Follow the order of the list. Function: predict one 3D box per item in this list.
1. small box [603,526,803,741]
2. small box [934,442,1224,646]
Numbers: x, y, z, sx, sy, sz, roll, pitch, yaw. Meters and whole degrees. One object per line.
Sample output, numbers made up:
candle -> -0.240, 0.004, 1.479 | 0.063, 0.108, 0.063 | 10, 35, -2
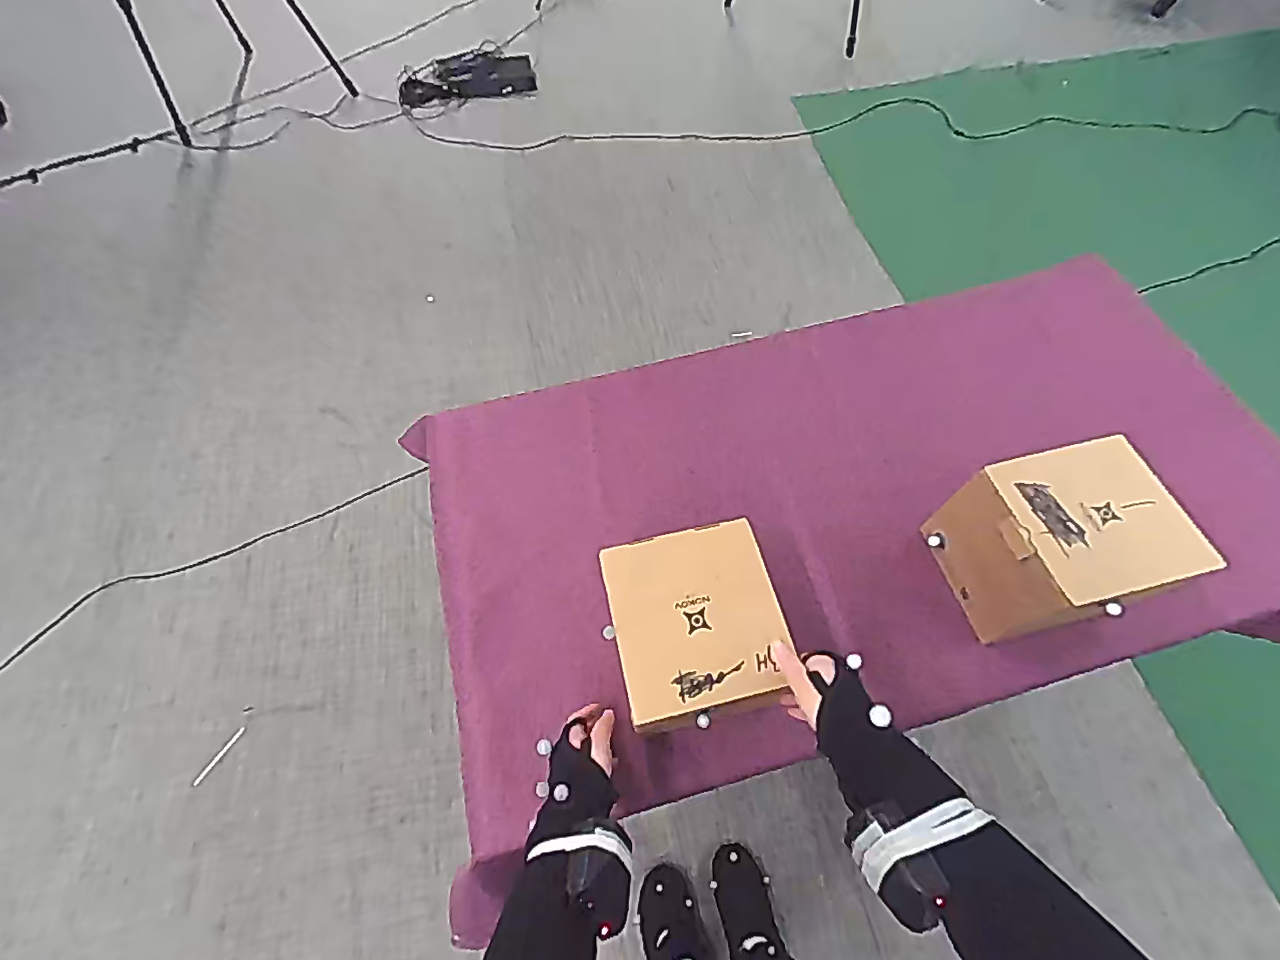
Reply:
small box -> 0.057, 0.176, 0.603 | 0.168, 0.176, 0.179 | -12, 61, -4
small box -> 0.482, 0.083, 0.636 | 0.179, 0.176, 0.168 | -12, 62, -5
